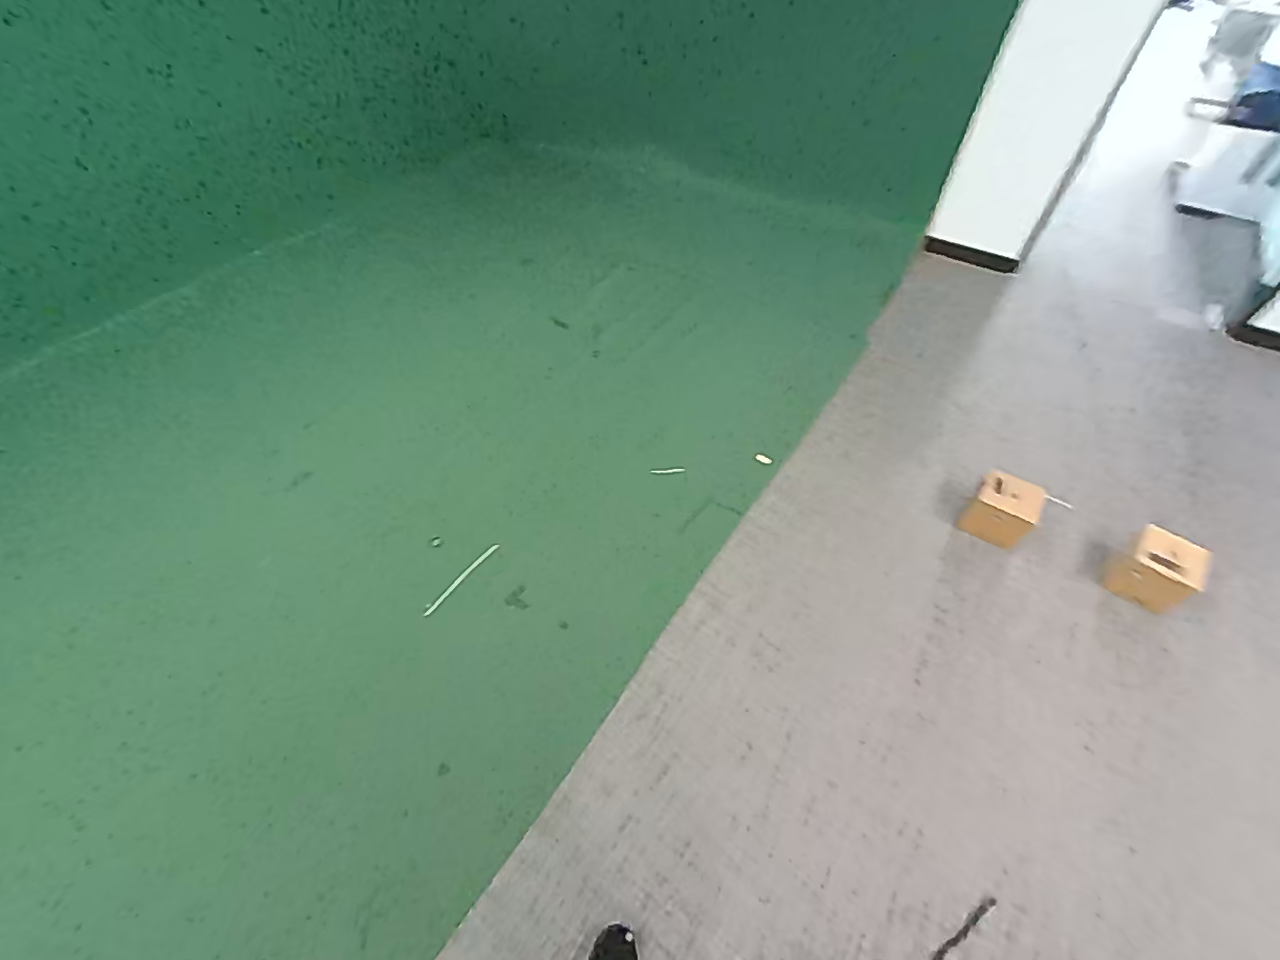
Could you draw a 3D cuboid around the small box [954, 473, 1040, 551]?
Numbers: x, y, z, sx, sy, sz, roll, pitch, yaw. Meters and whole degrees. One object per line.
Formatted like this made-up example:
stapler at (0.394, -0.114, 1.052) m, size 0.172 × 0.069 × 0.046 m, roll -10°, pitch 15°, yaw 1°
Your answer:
small box at (1.205, 0.113, 1.836) m, size 0.179 × 0.176 × 0.168 m, roll 28°, pitch 57°, yaw 20°
